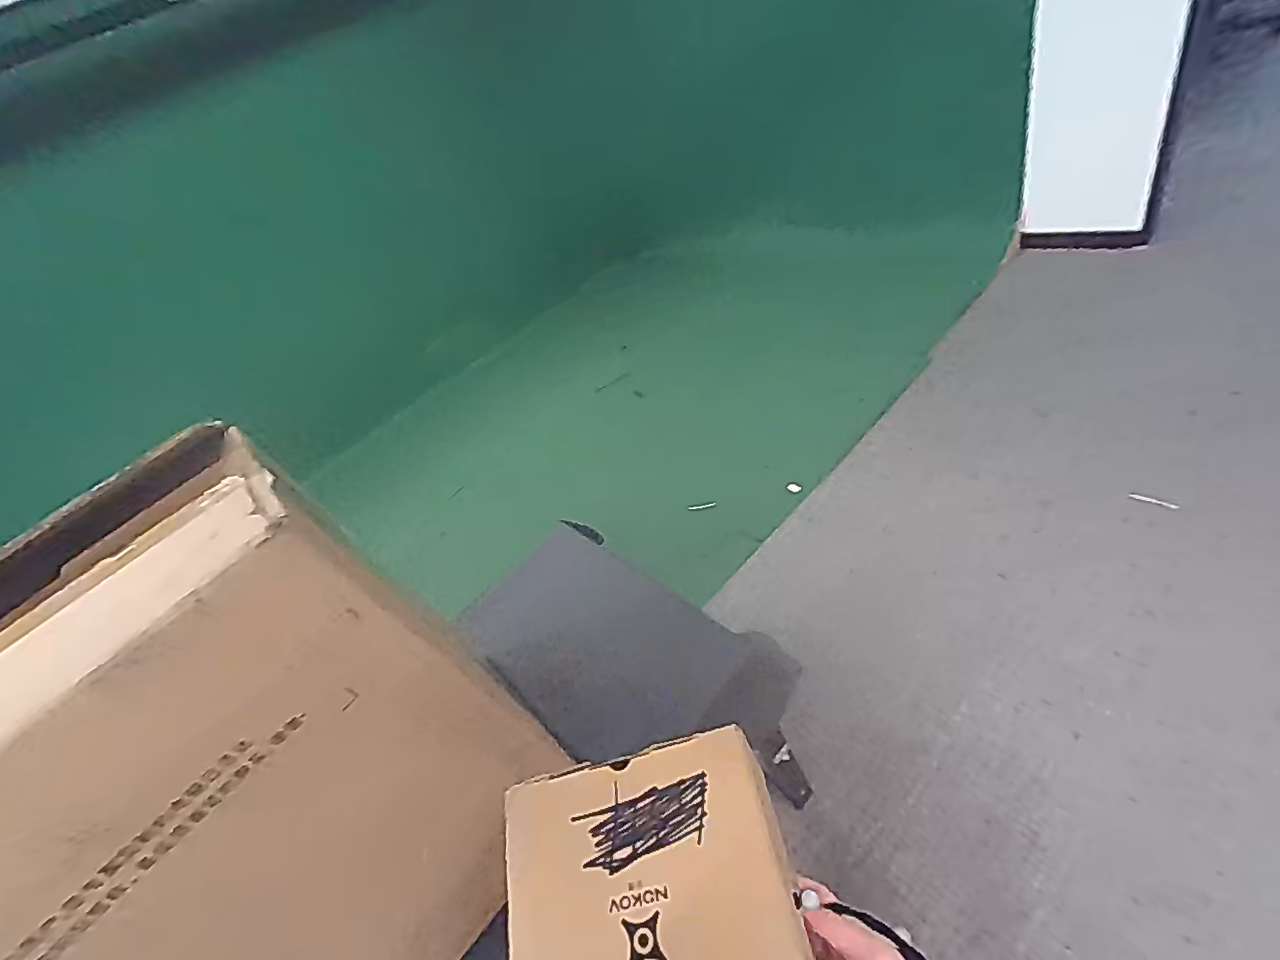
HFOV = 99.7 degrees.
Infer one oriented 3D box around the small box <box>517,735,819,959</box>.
[{"bbox_3d":[0.027,0.303,0.371,0.168,0.176,0.179,-18,51,6],"label":"small box"}]
